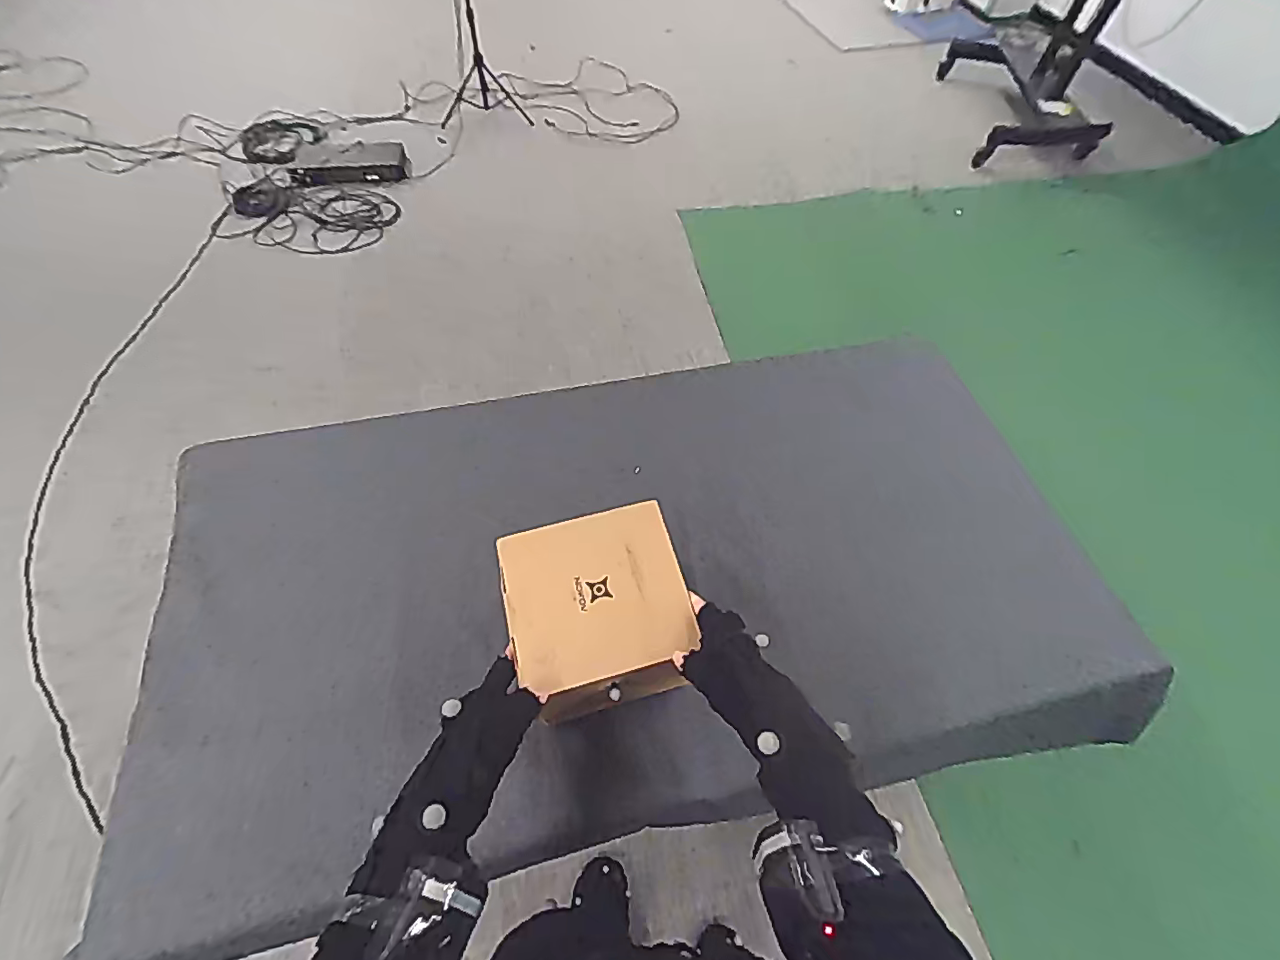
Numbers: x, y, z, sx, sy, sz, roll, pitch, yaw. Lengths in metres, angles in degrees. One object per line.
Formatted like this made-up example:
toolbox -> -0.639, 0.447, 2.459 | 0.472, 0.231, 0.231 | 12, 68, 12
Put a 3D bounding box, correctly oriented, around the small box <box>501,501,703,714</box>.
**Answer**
small box -> -0.044, 0.150, 0.614 | 0.179, 0.176, 0.168 | -14, 61, -10
